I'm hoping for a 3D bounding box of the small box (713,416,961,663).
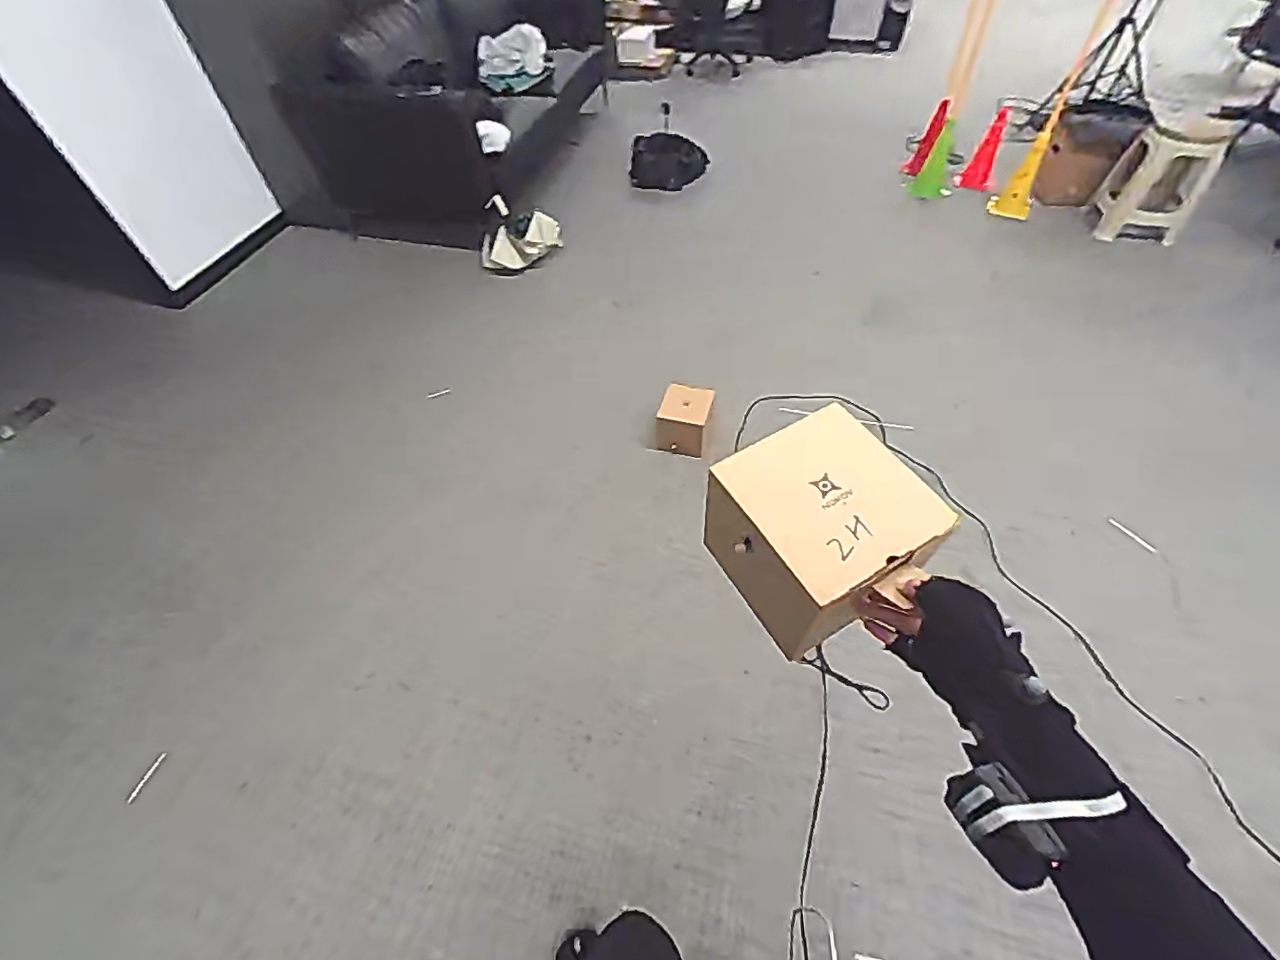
[{"bbox_3d":[0.191,0.068,0.590,0.168,0.176,0.179,-26,58,-12],"label":"small box"}]

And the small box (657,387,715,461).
[{"bbox_3d":[0.160,-0.197,1.900,0.168,0.176,0.179,12,54,13],"label":"small box"}]
